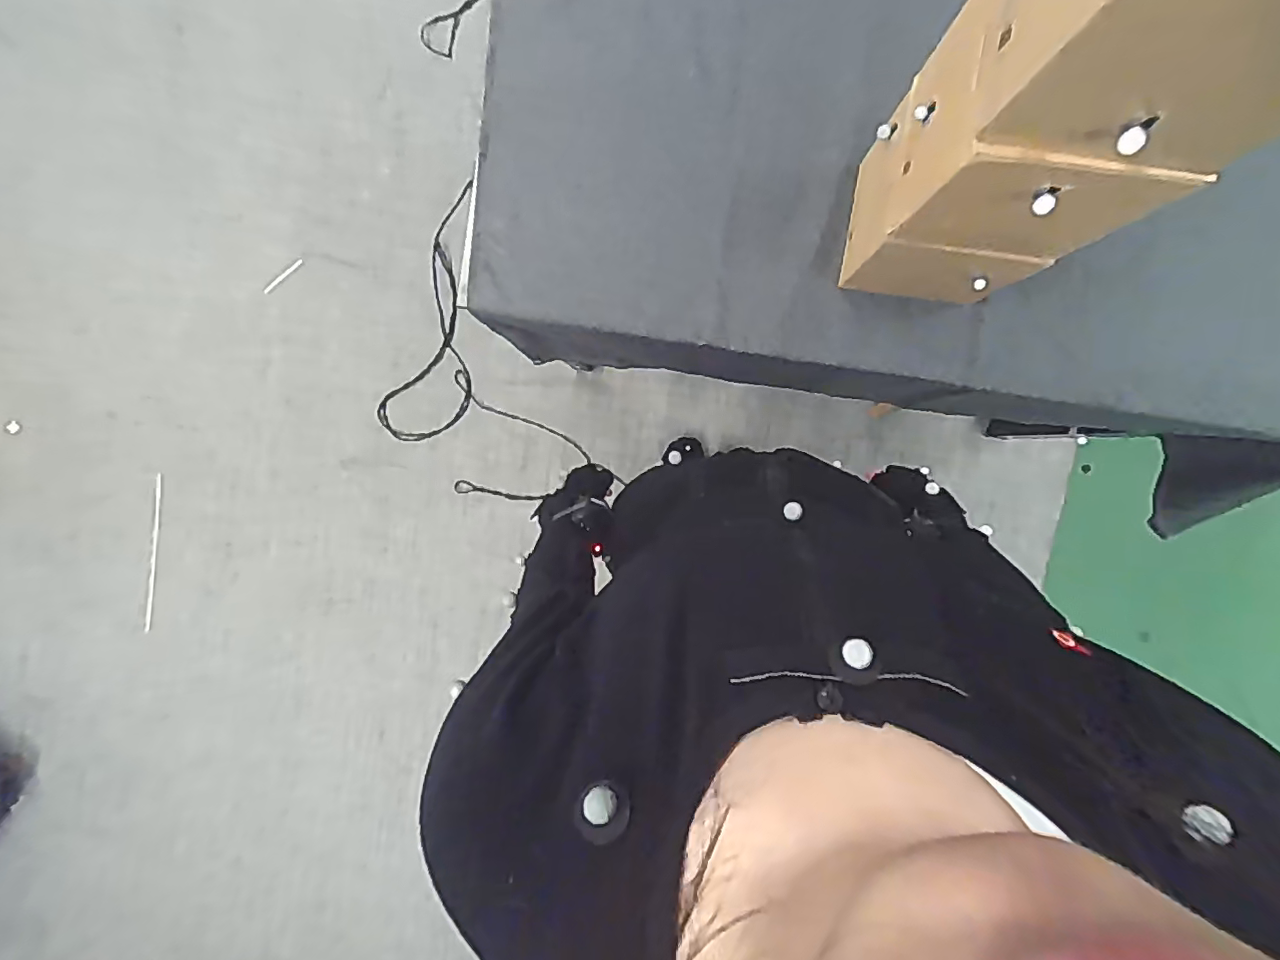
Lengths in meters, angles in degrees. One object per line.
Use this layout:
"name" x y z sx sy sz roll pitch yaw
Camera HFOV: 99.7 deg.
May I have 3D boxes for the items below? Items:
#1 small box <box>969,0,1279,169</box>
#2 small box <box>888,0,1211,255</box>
"small box" 0.339 -0.313 0.316 0.179 0.176 0.168 11 93 3
"small box" 0.351 -0.315 0.479 0.179 0.176 0.168 9 94 4
